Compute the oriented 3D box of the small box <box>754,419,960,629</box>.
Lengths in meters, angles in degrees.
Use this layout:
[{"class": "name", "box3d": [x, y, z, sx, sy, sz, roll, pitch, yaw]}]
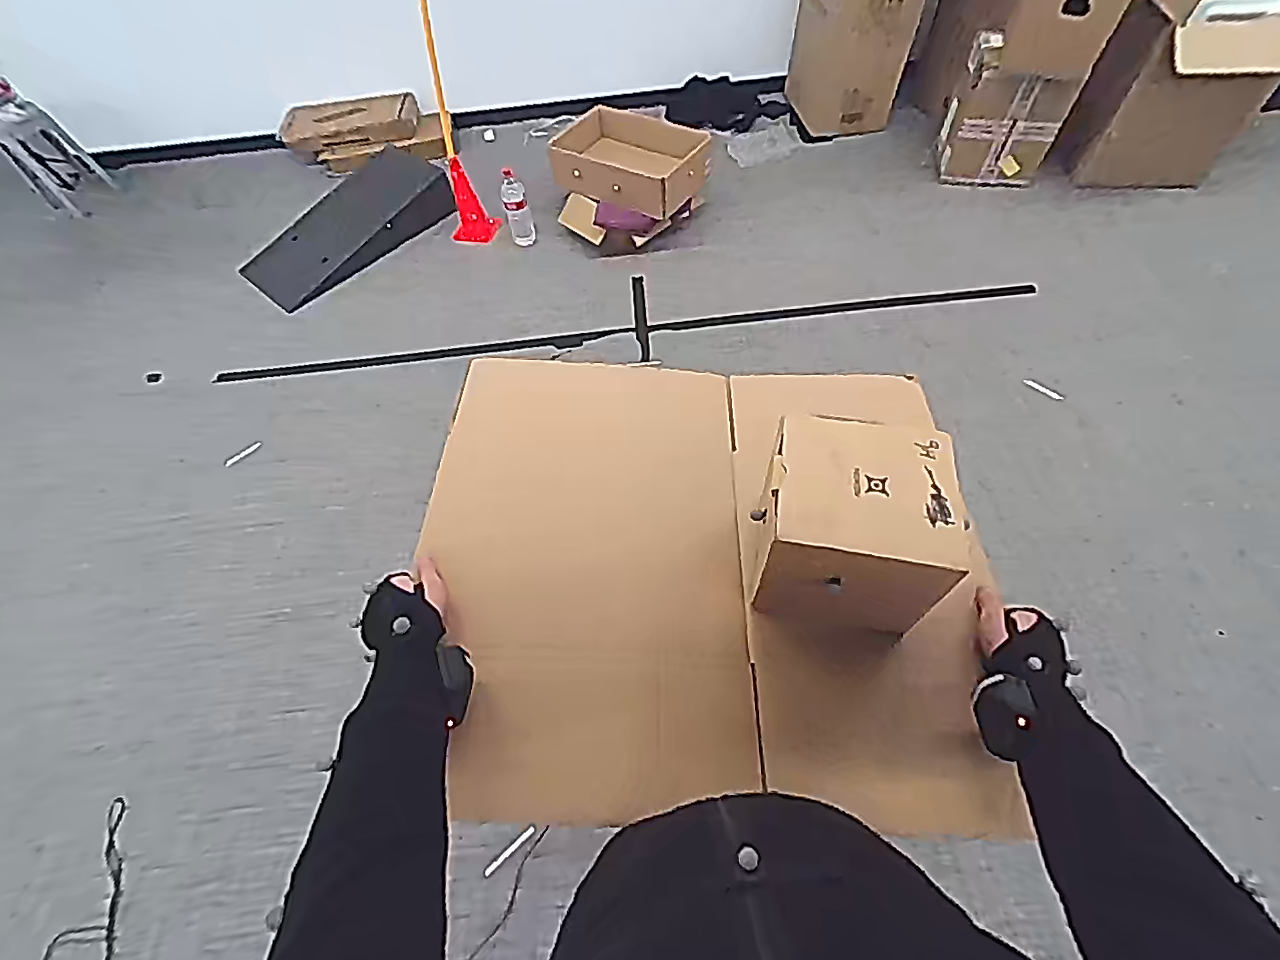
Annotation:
[{"class": "small box", "box3d": [0.229, 0.054, 0.614, 0.179, 0.176, 0.168, 8, 56, 9]}]
